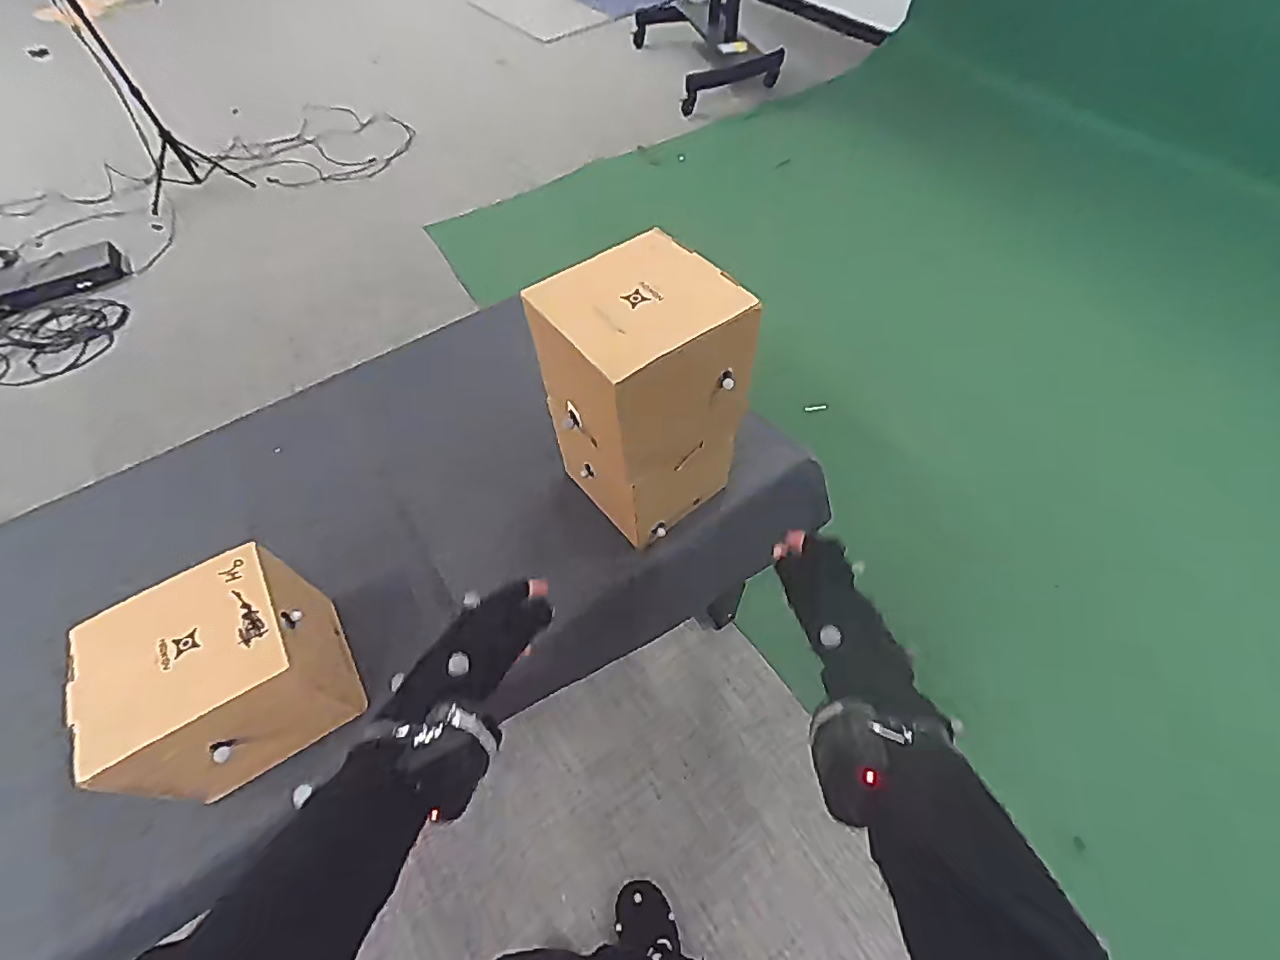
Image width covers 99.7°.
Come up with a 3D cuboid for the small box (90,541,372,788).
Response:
[{"bbox_3d":[-0.432,0.205,0.590,0.179,0.176,0.168,-29,58,-16],"label":"small box"}]

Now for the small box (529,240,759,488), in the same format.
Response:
[{"bbox_3d":[0.005,-0.126,0.603,0.179,0.176,0.168,-34,60,-17],"label":"small box"}]

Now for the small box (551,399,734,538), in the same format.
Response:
[{"bbox_3d":[0.006,-0.043,0.741,0.168,0.176,0.179,-35,61,-19],"label":"small box"}]
